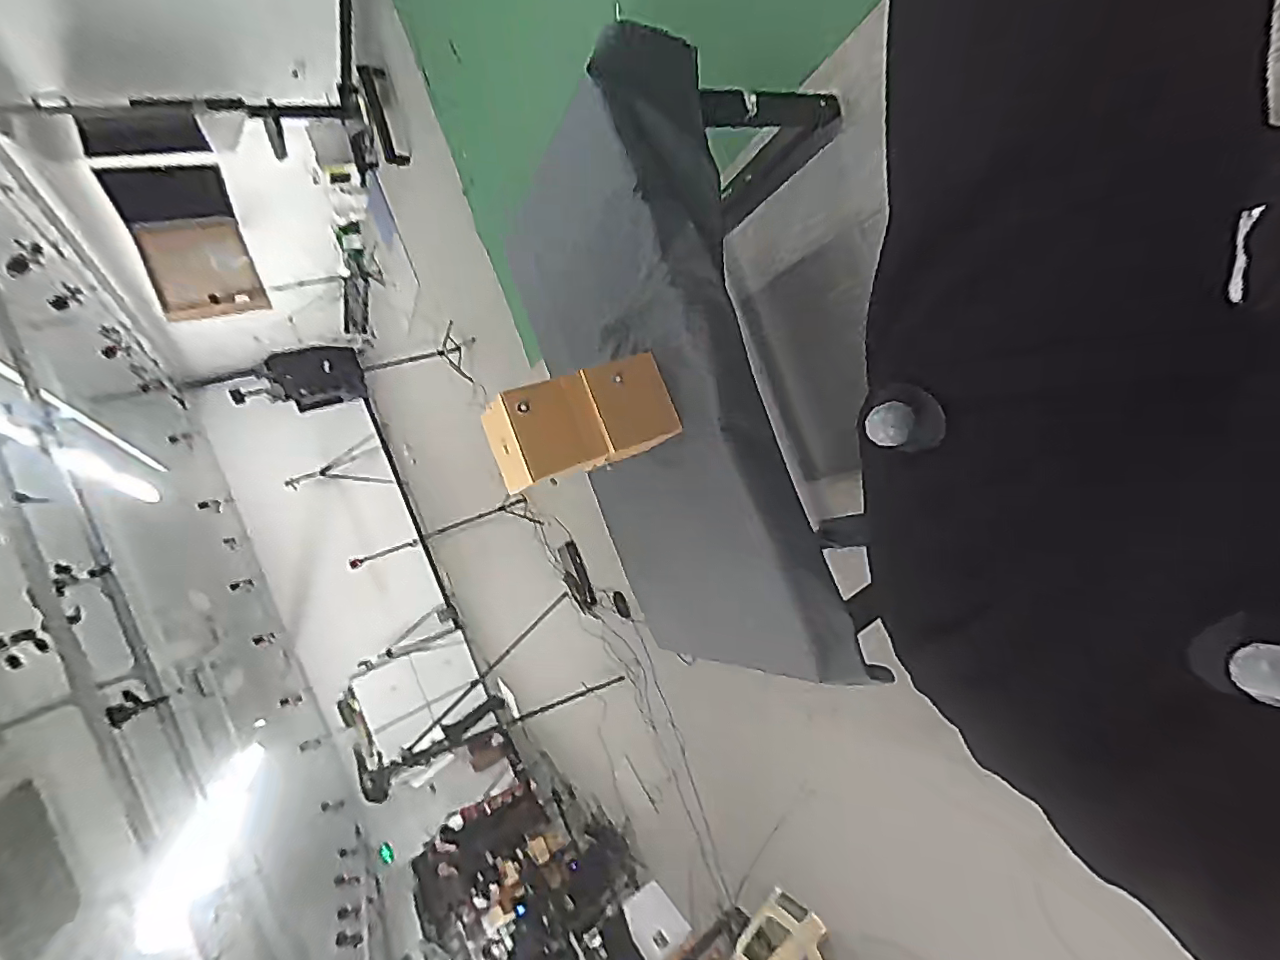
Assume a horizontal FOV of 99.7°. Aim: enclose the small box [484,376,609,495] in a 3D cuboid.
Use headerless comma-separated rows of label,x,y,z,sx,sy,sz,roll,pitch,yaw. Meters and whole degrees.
small box,-0.183,-0.086,1.063,0.168,0.176,0.179,-20,91,61
